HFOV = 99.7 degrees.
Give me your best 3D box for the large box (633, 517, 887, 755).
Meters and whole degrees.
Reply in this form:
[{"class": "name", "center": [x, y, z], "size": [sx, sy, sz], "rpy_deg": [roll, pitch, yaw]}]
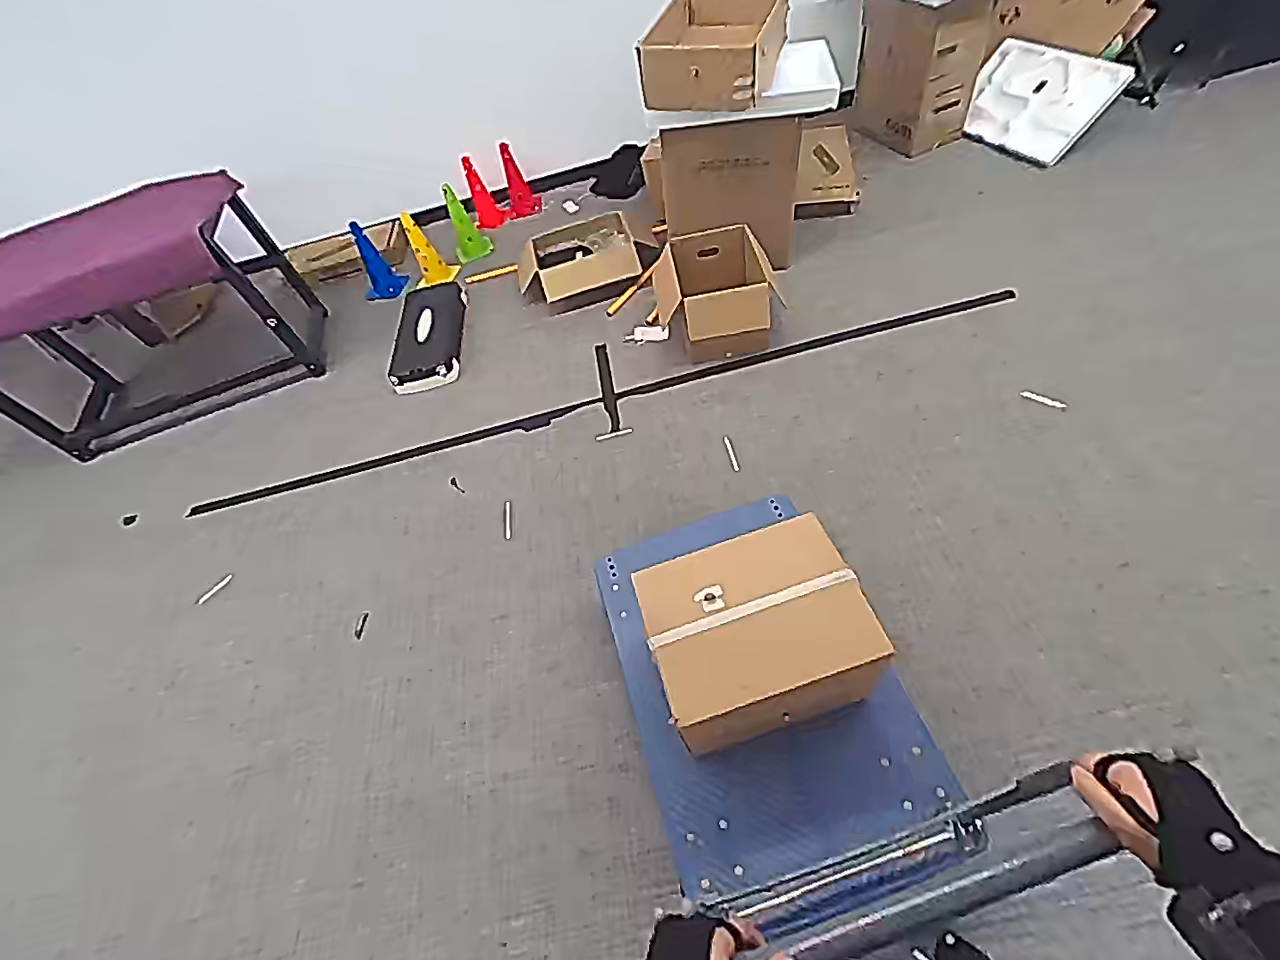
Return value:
[{"class": "large box", "center": [0.242, 0.341, 1.158], "size": [0.408, 0.320, 0.320], "rpy_deg": [-20, 52, -1]}]
